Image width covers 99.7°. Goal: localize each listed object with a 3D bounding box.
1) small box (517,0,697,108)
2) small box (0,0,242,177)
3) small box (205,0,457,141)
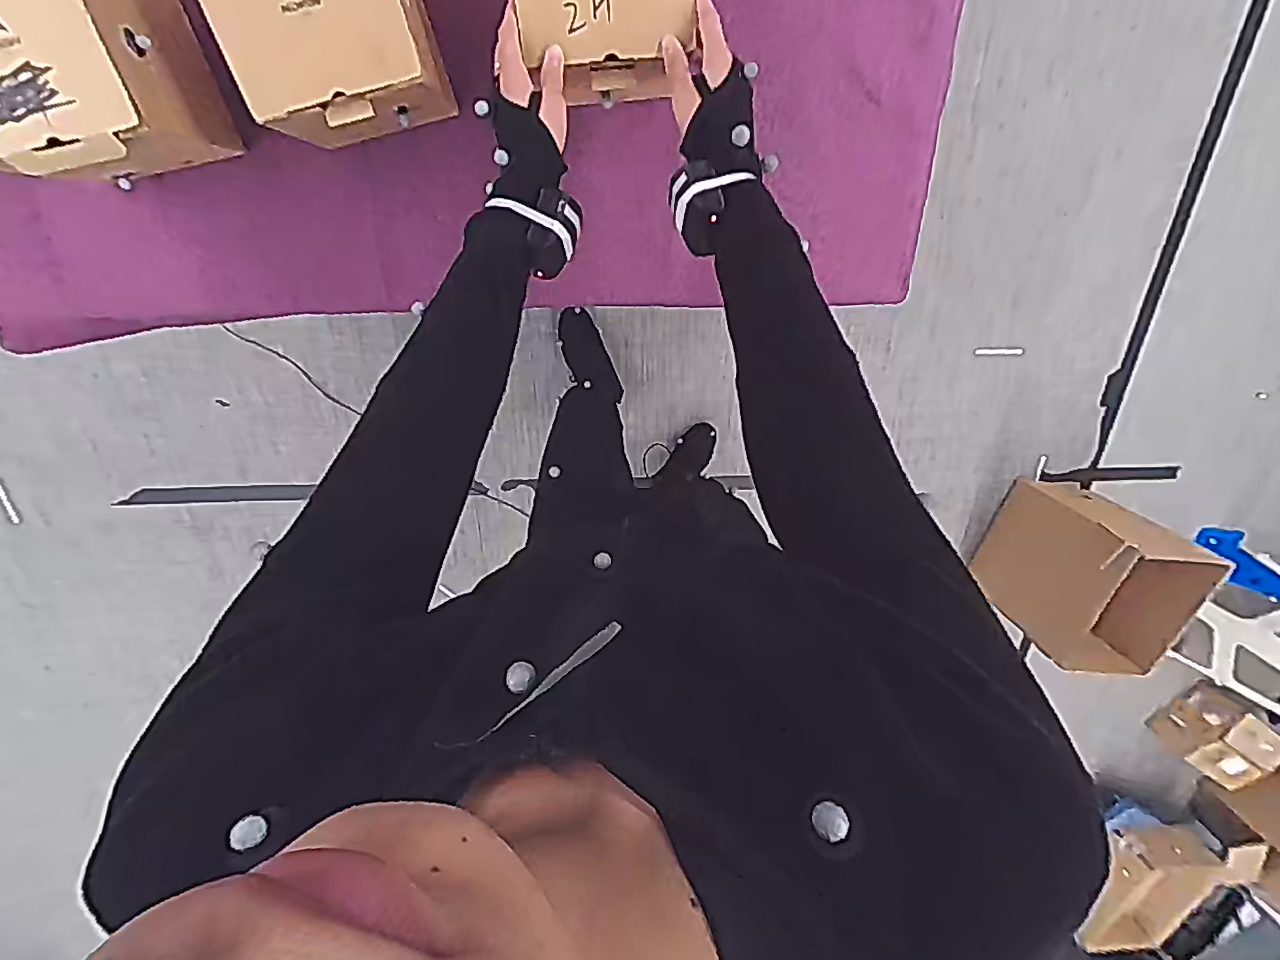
[{"bbox_3d":[-0.041,-0.505,0.549,0.168,0.176,0.179,-7,115,-3],"label":"small box"},{"bbox_3d":[-0.549,-0.413,0.533,0.168,0.176,0.179,-13,114,-1],"label":"small box"},{"bbox_3d":[-0.303,-0.461,0.542,0.168,0.176,0.179,-15,114,0],"label":"small box"}]
